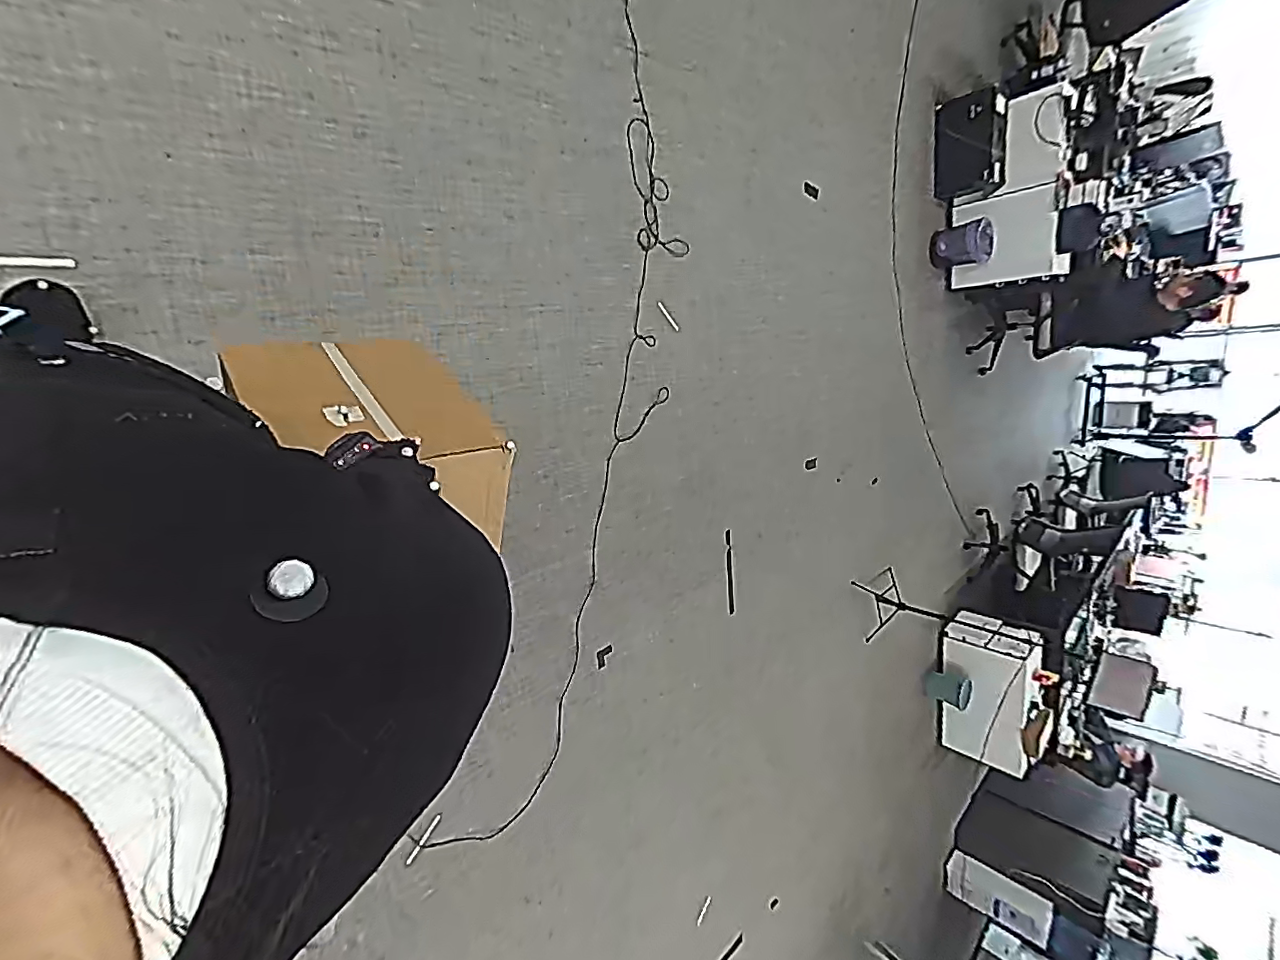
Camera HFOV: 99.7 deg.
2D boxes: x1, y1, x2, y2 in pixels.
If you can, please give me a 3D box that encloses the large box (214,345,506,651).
[{"bbox_3d":[-0.475,-0.002,0.914,0.320,0.408,0.320,-14,133,-38],"label":"large box"}]
